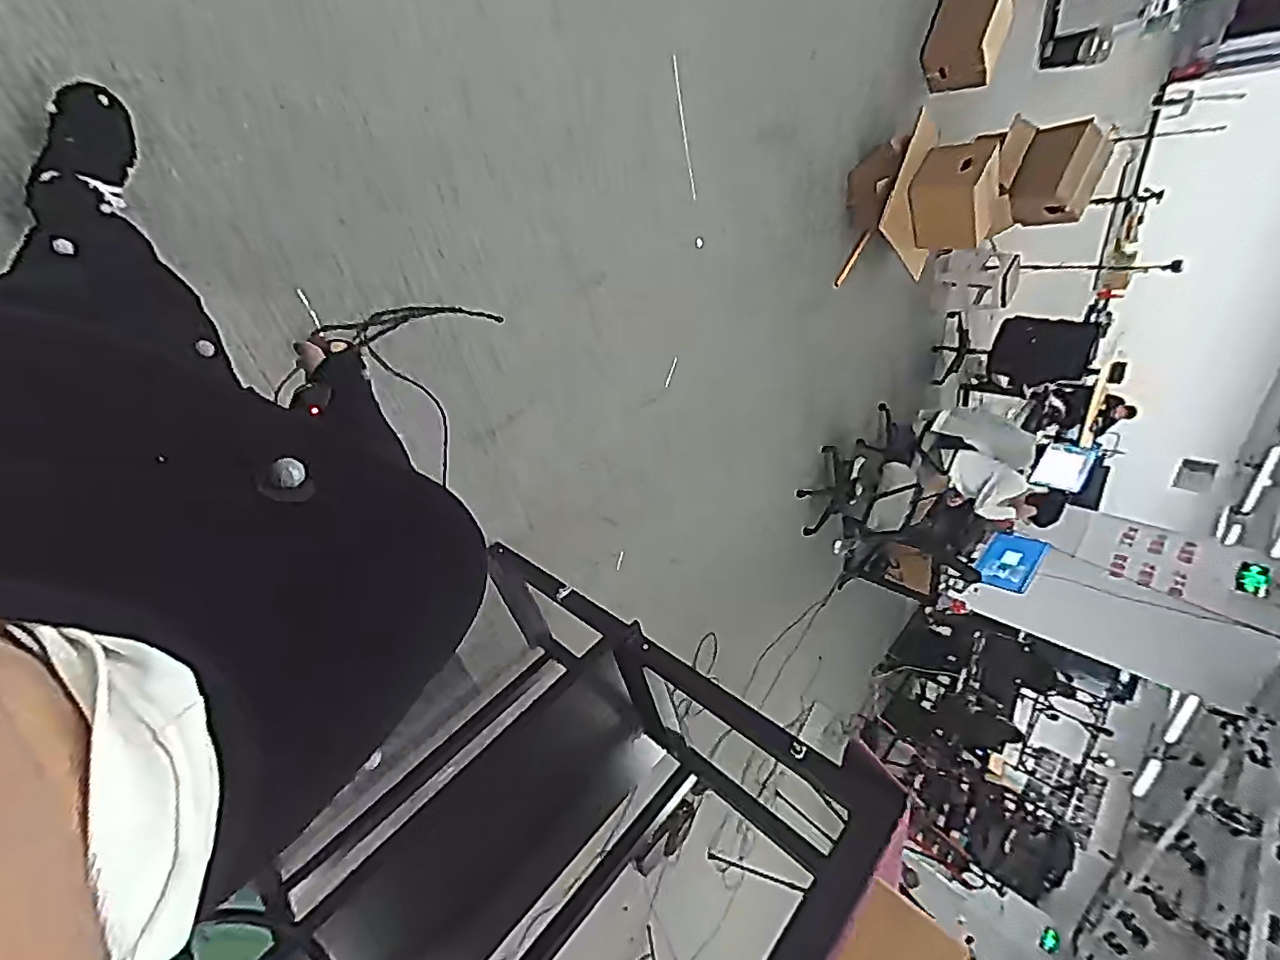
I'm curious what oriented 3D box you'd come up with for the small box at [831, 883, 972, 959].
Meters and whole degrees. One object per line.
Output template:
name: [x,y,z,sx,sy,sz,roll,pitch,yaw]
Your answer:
small box: [0.443,0.858,0.940,0.179,0.176,0.168,-39,131,-27]
